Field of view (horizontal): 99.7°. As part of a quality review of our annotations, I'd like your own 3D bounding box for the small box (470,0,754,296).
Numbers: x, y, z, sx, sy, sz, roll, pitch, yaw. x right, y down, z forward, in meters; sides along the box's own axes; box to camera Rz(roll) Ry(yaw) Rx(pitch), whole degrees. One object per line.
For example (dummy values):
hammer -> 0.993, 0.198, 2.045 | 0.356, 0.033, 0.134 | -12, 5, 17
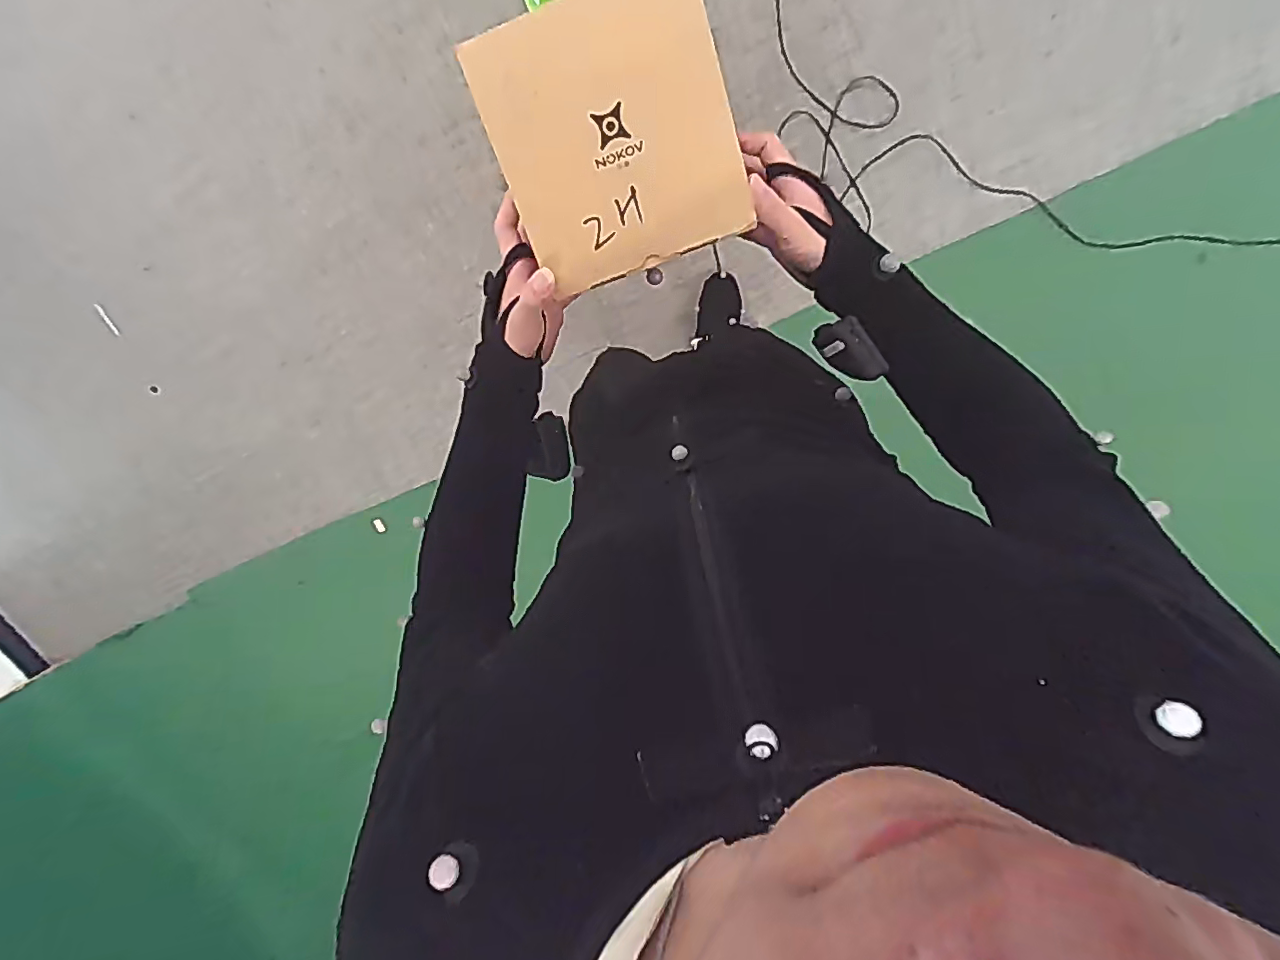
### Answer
small box -> -0.015, -0.271, 0.462 | 0.168, 0.176, 0.179 | -17, 111, 8
